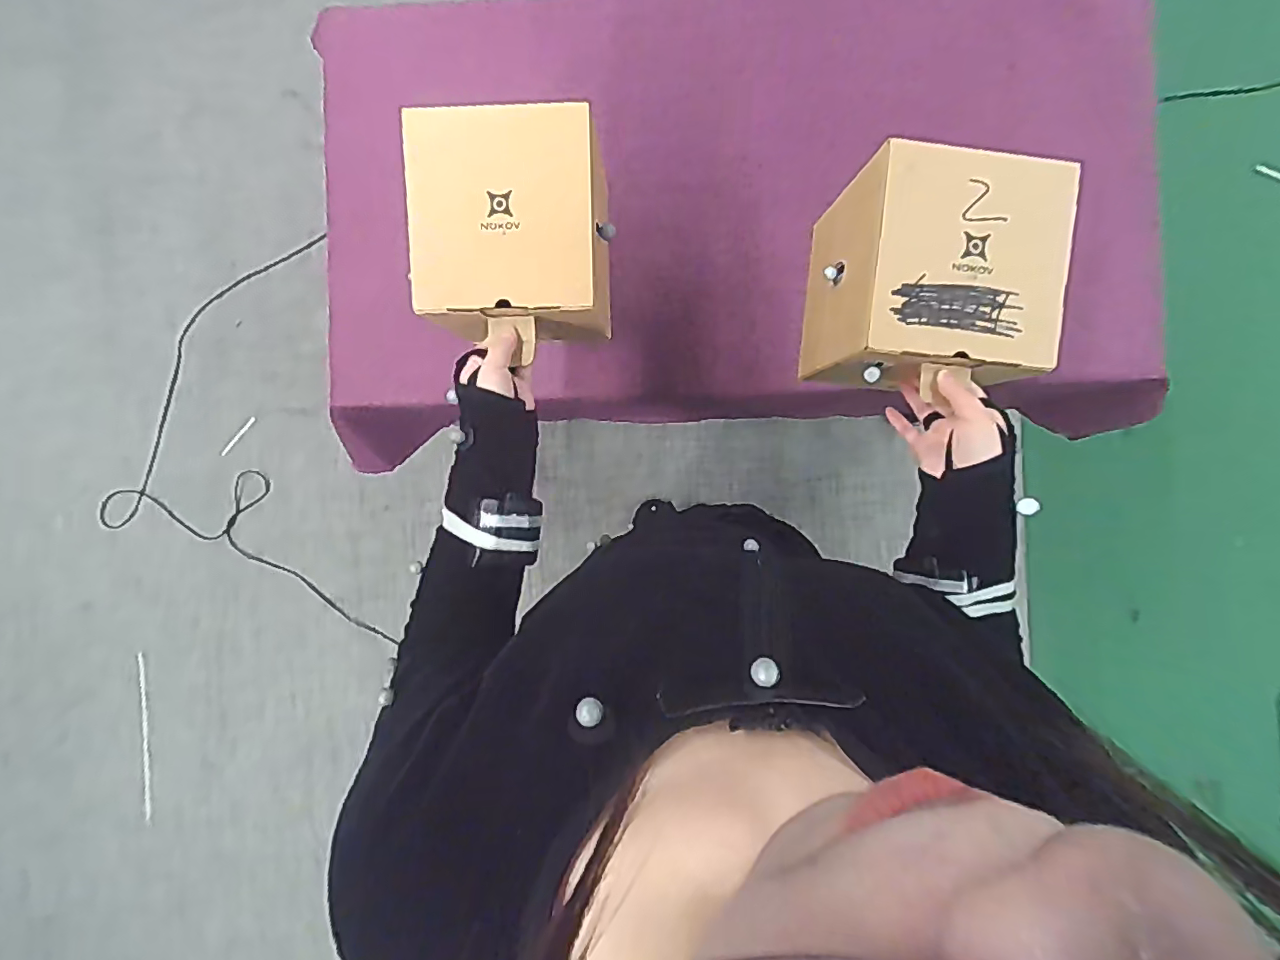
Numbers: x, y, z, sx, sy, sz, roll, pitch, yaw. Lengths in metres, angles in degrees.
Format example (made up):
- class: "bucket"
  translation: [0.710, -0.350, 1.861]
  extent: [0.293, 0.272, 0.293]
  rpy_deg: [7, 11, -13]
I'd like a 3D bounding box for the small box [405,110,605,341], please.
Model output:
- class: "small box"
  translation: [-0.127, -0.249, 0.567]
  extent: [0.168, 0.176, 0.179]
  rpy_deg: [-1, 96, 1]
